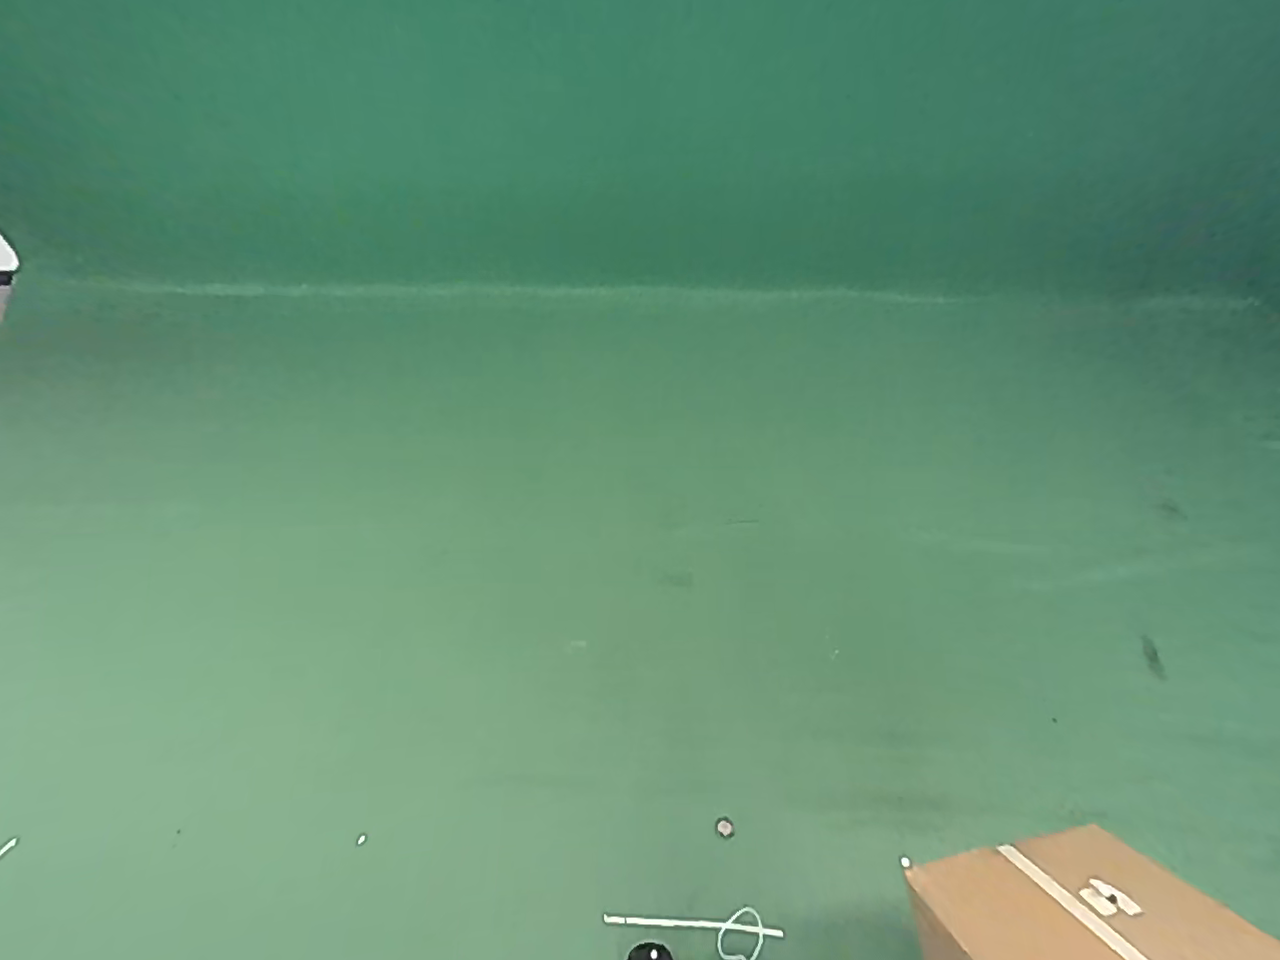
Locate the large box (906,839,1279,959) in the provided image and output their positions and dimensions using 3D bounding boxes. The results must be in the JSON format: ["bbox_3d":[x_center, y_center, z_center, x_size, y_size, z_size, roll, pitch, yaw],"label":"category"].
[{"bbox_3d":[0.583,0.703,0.606,0.320,0.408,0.320,-10,85,-3],"label":"large box"}]
